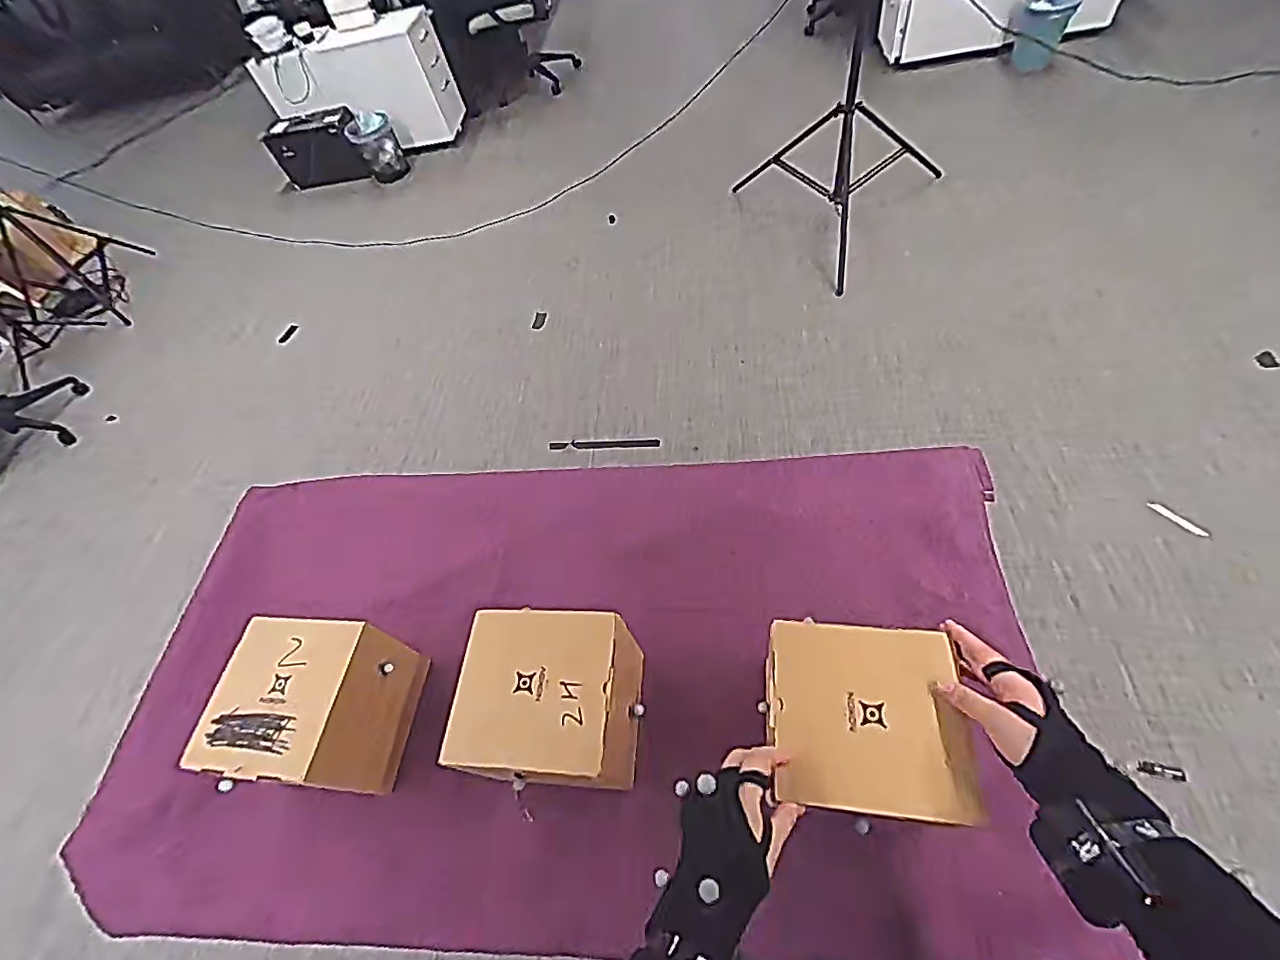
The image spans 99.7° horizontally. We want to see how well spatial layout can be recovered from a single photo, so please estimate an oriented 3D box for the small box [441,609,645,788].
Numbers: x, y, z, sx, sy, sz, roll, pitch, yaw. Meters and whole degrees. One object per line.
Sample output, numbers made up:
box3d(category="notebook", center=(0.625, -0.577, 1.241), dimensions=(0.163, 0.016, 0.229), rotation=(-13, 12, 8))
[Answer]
box3d(category="small box", center=(-0.099, 0.264, 0.646), dimensions=(0.179, 0.176, 0.168), rotation=(-1, 57, 11))
